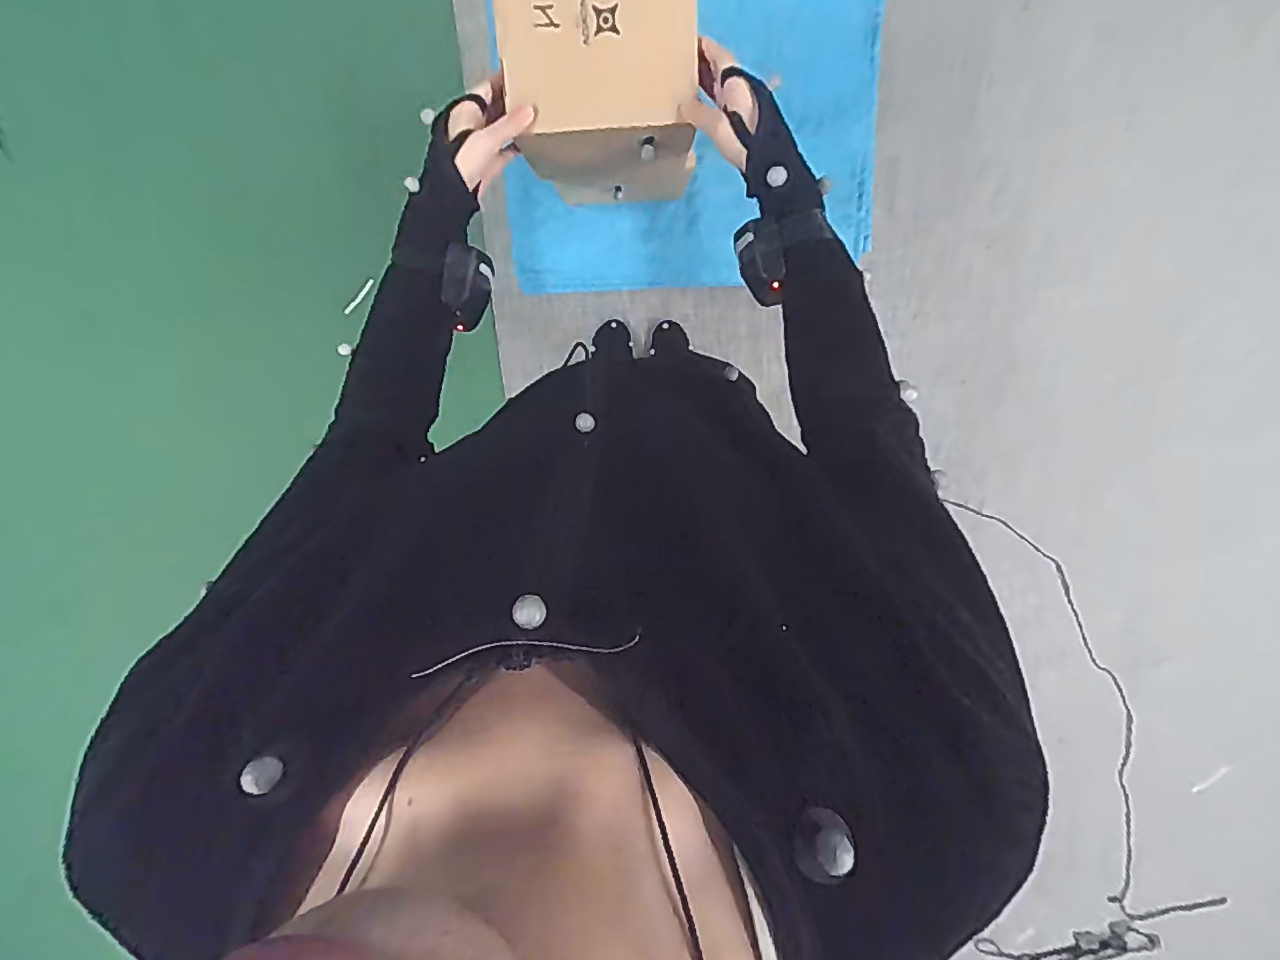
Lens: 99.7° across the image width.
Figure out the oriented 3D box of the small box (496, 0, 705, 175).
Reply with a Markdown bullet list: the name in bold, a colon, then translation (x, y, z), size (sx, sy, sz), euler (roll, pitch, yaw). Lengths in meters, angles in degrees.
- **small box**: translation (-0.034, -0.414, 0.532), size (0.179, 0.176, 0.168), euler (-3, 106, 1)

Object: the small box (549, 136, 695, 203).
- **small box**: translation (-0.026, -0.463, 0.689), size (0.179, 0.176, 0.168), euler (-3, 106, 1)
